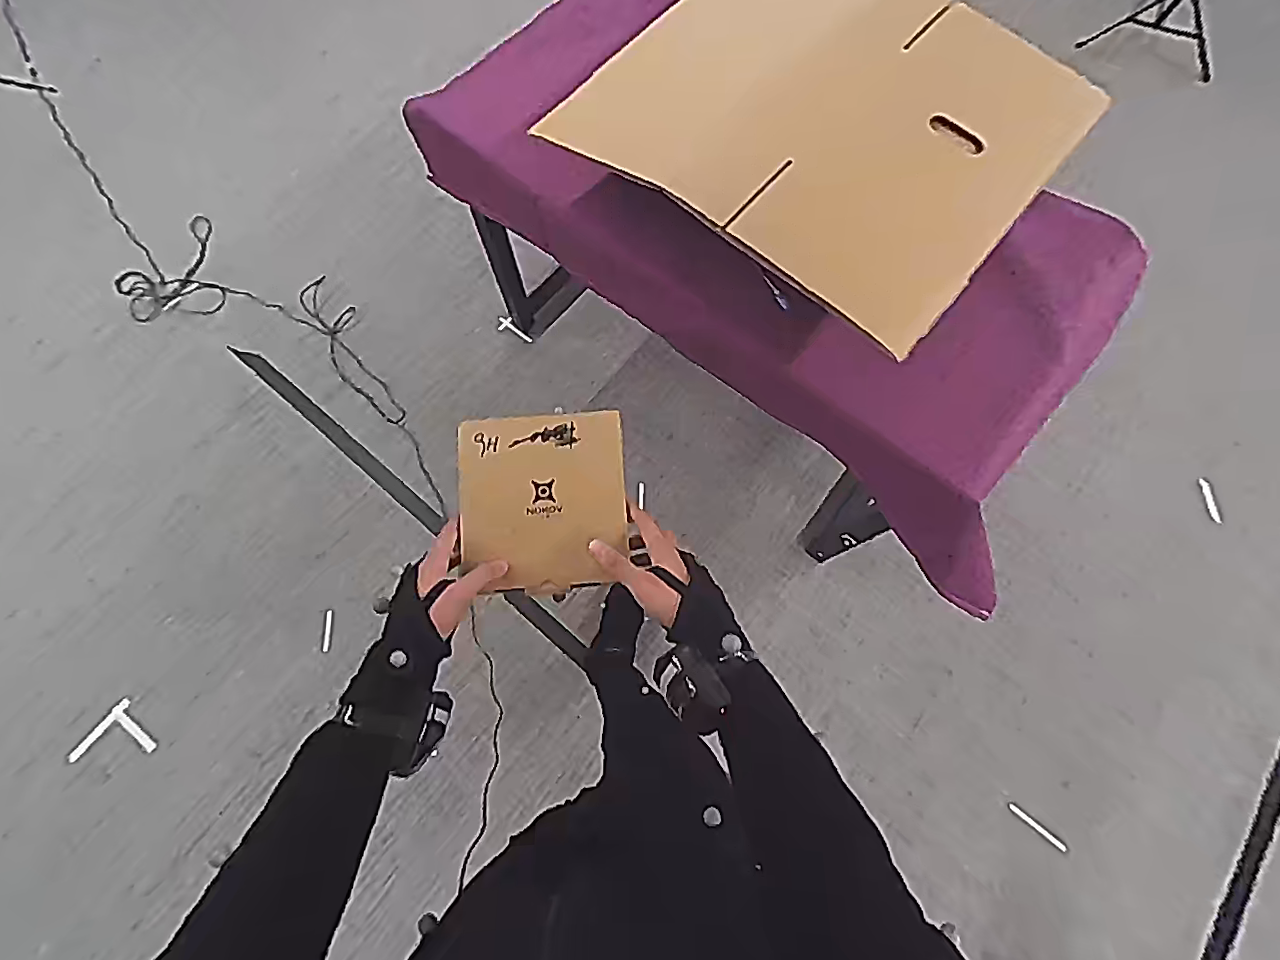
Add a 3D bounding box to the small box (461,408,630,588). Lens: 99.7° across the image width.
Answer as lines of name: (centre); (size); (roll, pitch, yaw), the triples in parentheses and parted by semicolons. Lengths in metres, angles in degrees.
small box: (-0.098, 0.026, 0.622); (0.168, 0.176, 0.179); (-4, 82, -2)
